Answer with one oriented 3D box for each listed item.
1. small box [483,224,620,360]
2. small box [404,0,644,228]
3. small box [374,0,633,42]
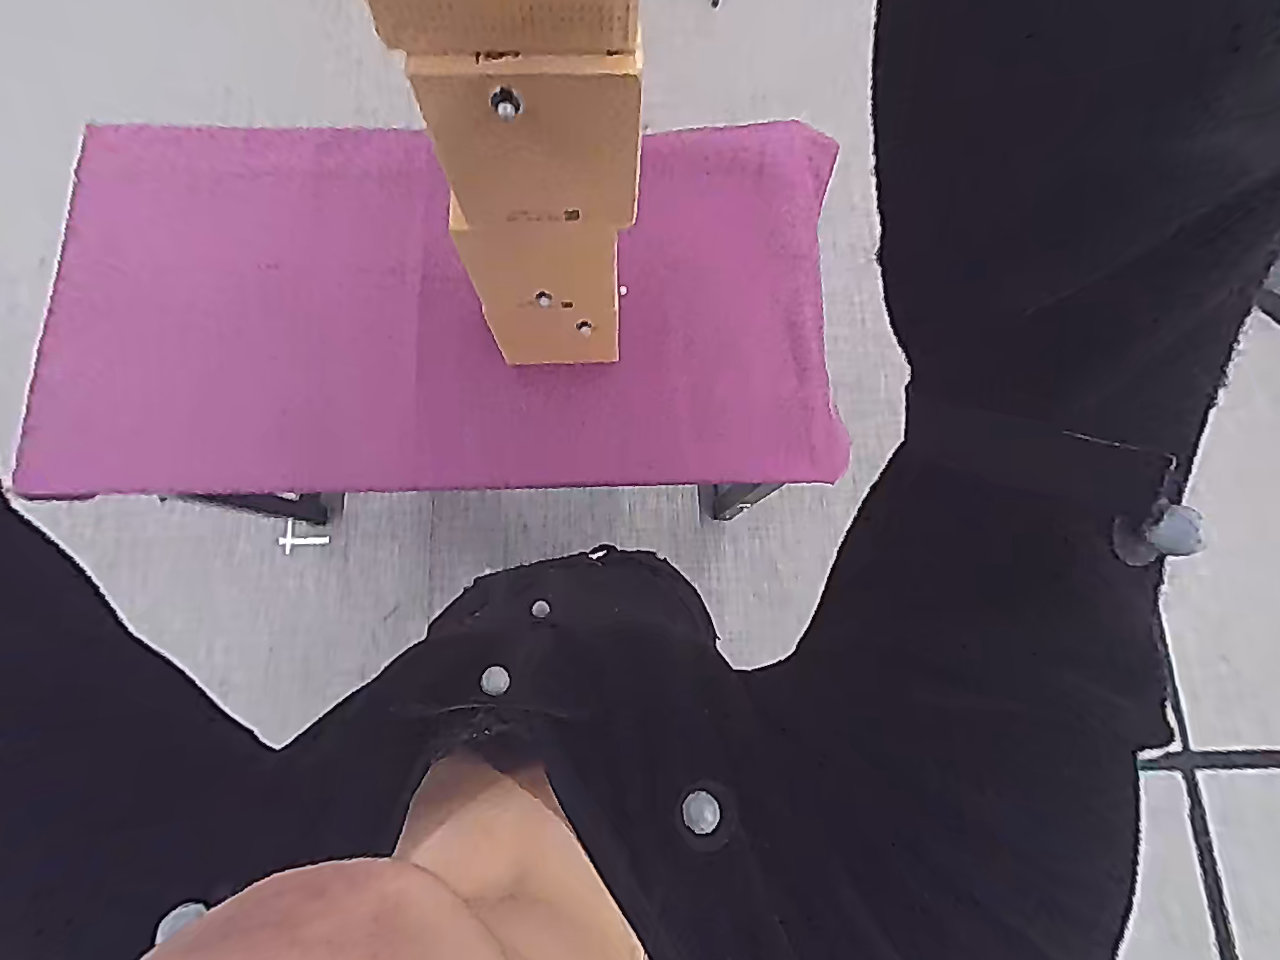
[{"bbox_3d":[-0.120,-0.284,0.785,0.179,0.176,0.168,-2,78,-2],"label":"small box"},{"bbox_3d":[-0.086,-0.349,0.466,0.168,0.176,0.179,-2,78,-3],"label":"small box"},{"bbox_3d":[-0.086,-0.394,0.308,0.179,0.176,0.168,-3,79,-3],"label":"small box"}]
